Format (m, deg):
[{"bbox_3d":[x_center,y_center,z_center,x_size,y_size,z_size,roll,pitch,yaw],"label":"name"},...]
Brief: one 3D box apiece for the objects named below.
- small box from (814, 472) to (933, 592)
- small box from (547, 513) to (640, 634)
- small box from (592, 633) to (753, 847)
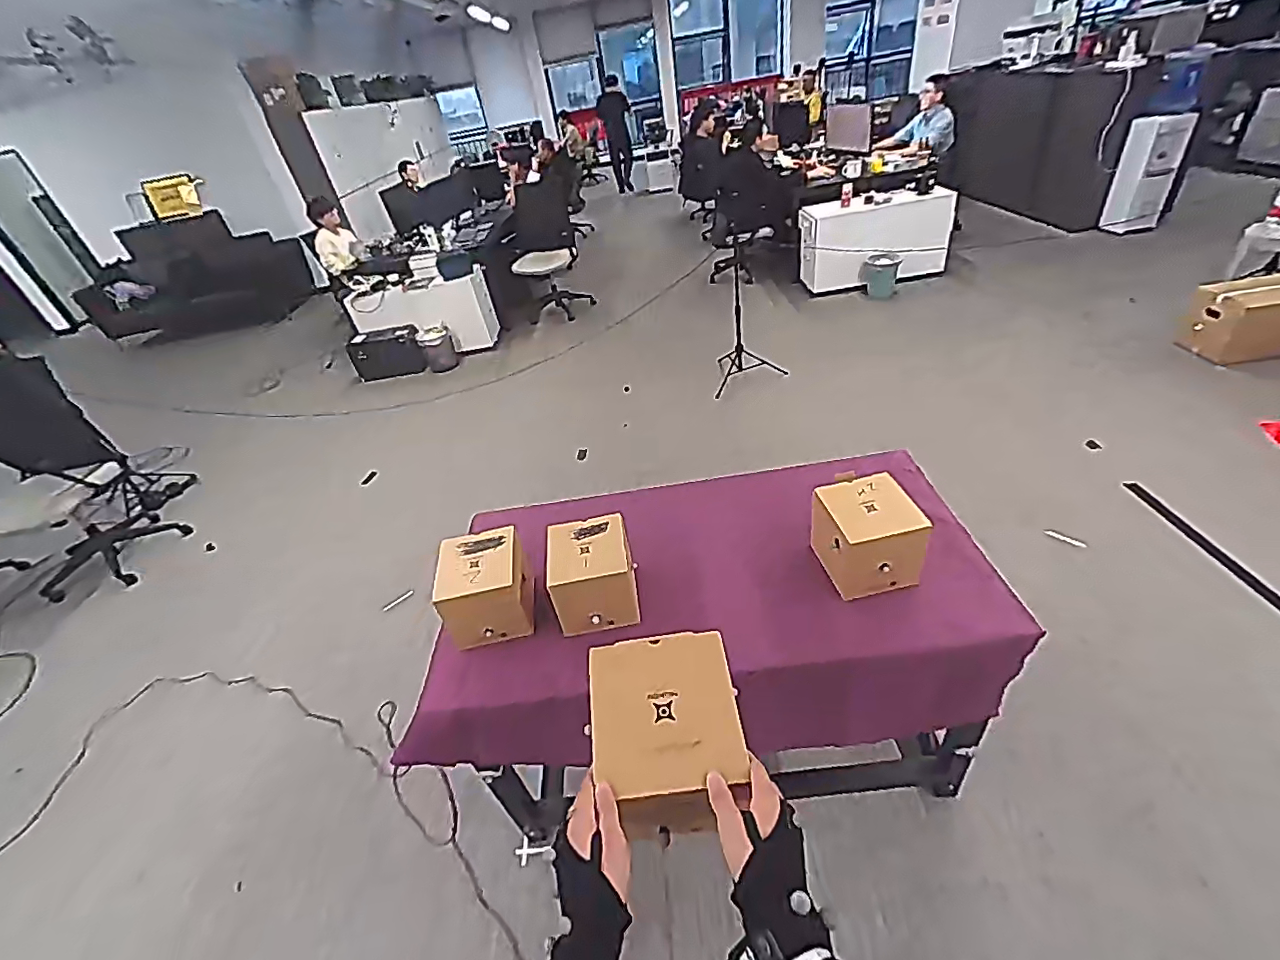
[{"bbox_3d":[0.475,0.114,1.128,0.168,0.176,0.179,-12,37,-1],"label":"small box"},{"bbox_3d":[-0.098,0.201,1.165,0.168,0.176,0.179,-11,38,1],"label":"small box"},{"bbox_3d":[0.033,0.312,0.654,0.168,0.176,0.179,-7,43,0],"label":"small box"}]
